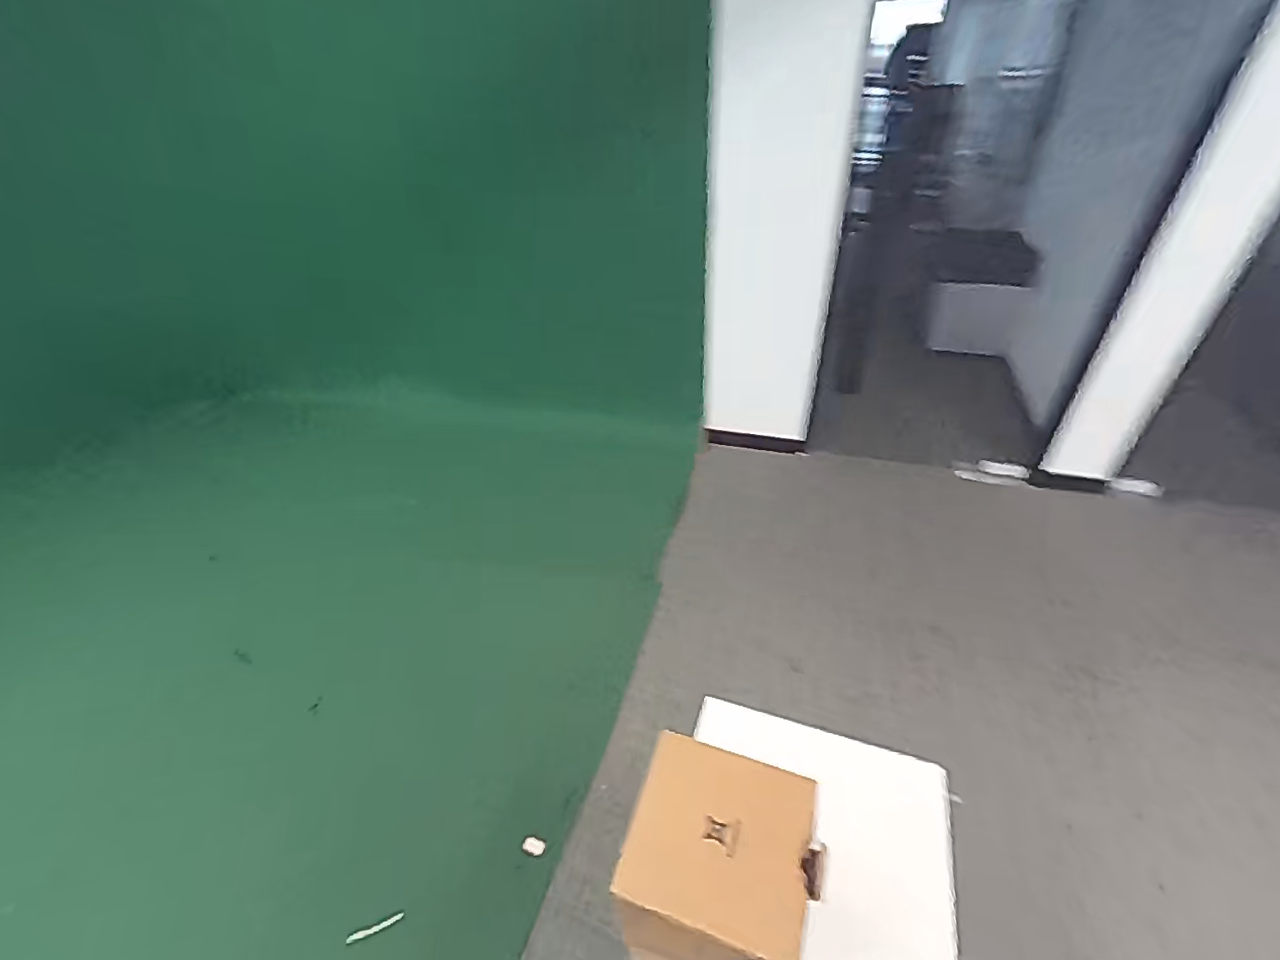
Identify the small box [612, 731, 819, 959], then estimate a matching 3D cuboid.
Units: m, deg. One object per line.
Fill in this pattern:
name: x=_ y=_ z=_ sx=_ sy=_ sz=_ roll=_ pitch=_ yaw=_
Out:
small box: x=0.082 y=0.413 z=0.585 sx=0.179 sy=0.176 sz=0.168 roll=12 pitch=39 yaw=16
